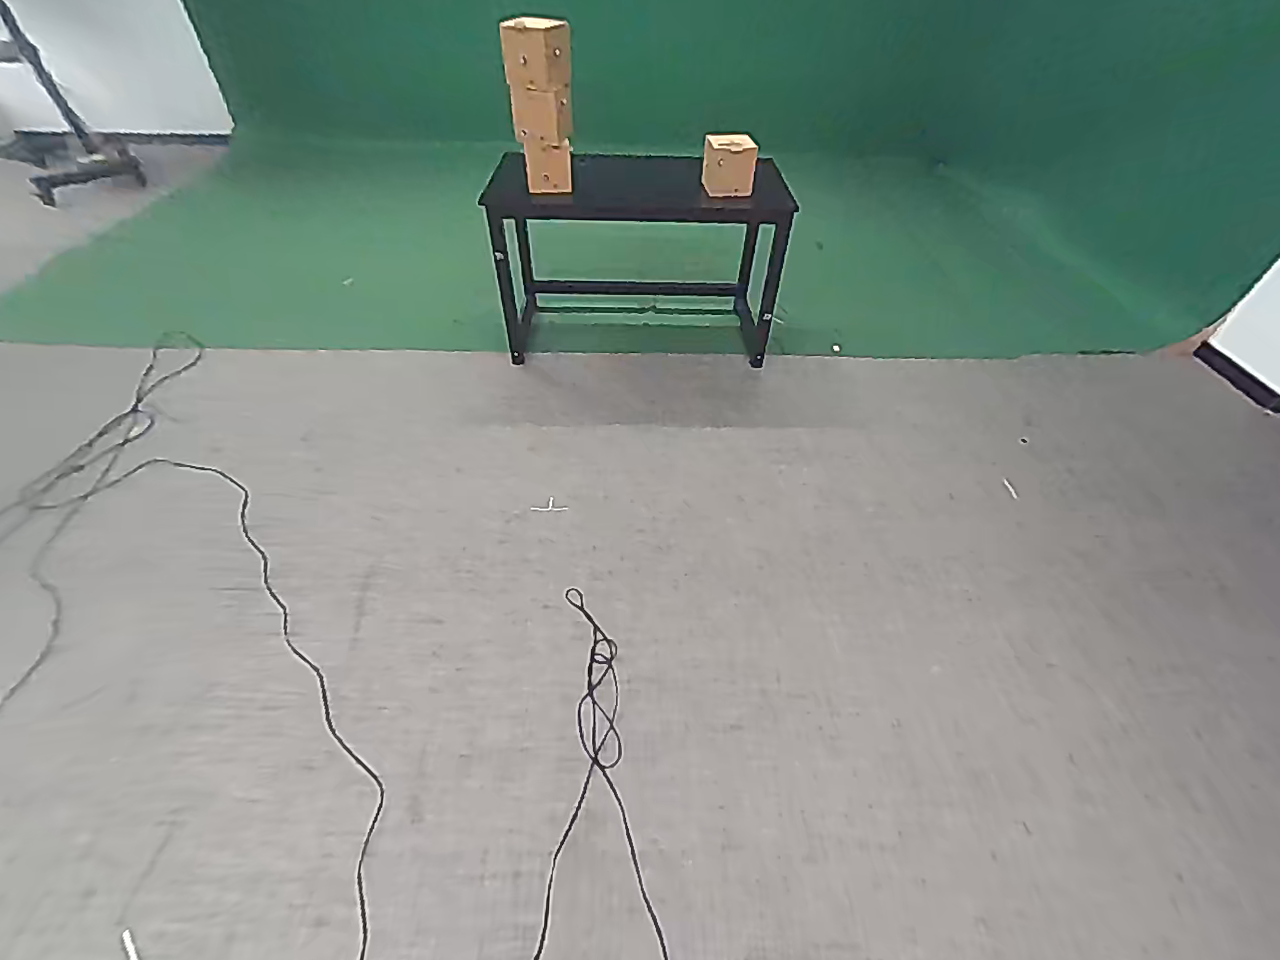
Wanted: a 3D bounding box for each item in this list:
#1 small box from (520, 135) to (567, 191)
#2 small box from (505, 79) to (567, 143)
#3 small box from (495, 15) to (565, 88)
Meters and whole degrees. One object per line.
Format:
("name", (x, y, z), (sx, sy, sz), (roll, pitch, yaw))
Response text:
("small box", (-0.370, -1.232, 2.082), (0.168, 0.176, 0.179), (-5, 48, -8))
("small box", (-0.369, -1.345, 1.963), (0.168, 0.176, 0.179), (10, 47, 7))
("small box", (-0.367, -1.463, 1.848), (0.168, 0.176, 0.179), (19, 50, 14))
